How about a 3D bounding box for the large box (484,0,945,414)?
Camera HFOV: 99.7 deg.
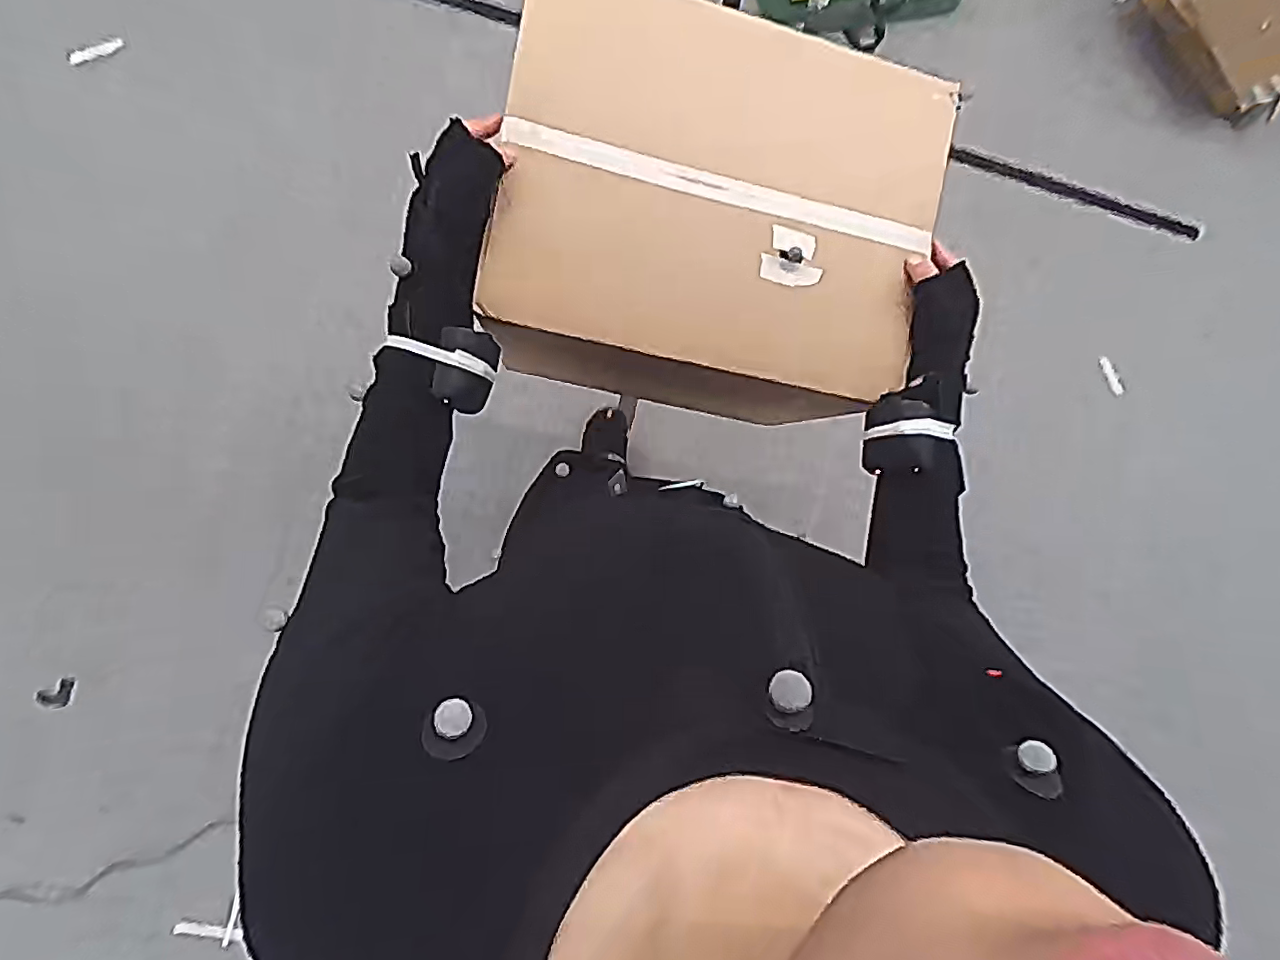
[{"bbox_3d":[0.055,-0.275,0.642,0.408,0.320,0.320,11,92,-10],"label":"large box"}]
